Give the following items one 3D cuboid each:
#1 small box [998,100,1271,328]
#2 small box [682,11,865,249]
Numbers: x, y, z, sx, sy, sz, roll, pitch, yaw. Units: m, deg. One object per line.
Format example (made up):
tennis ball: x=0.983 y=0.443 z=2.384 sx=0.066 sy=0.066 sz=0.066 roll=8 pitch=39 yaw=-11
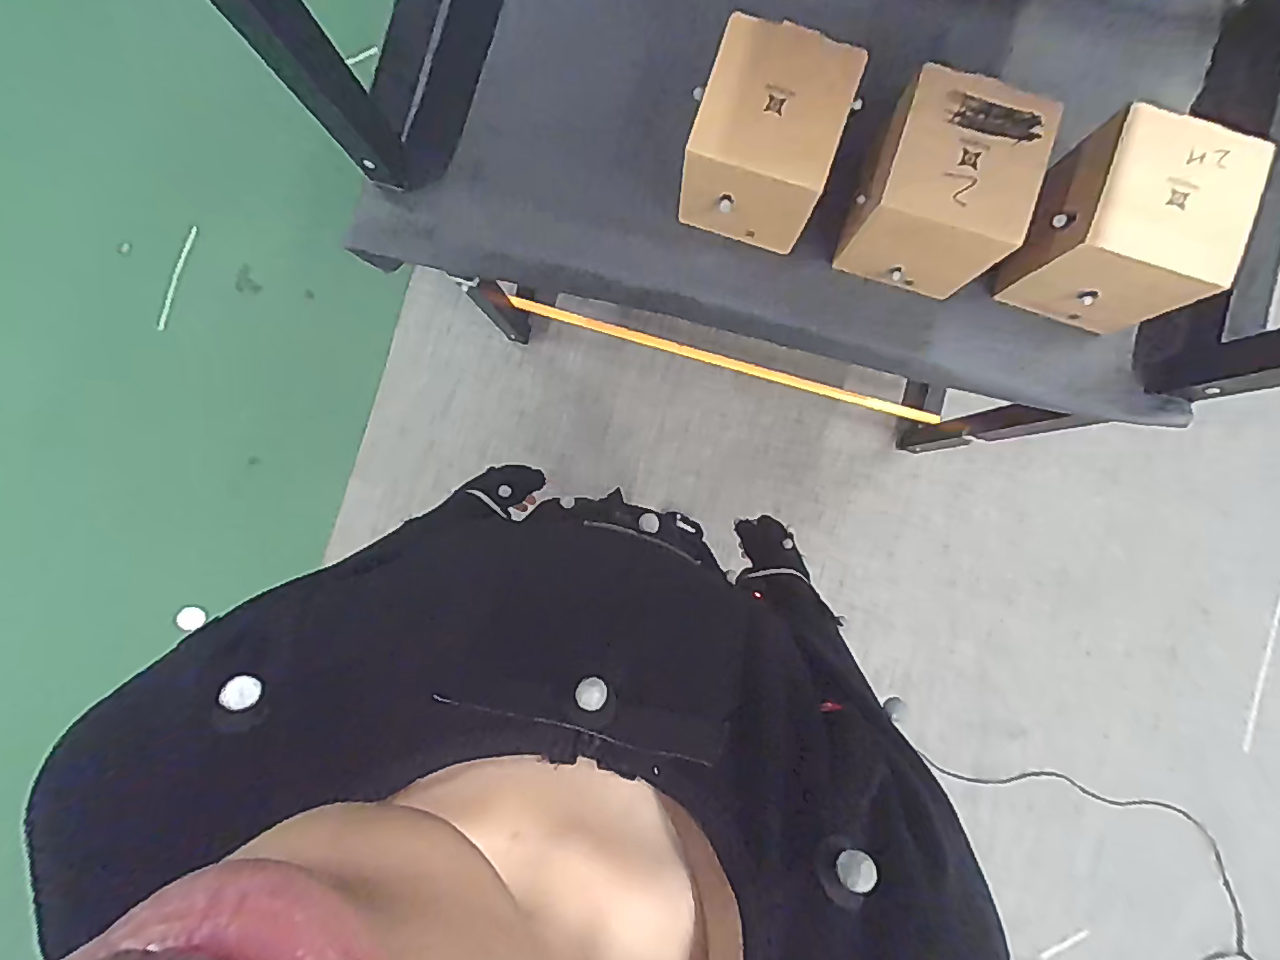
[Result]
small box: x=0.594 y=-0.314 z=0.678 sx=0.168 sy=0.176 sz=0.179 roll=20 pitch=88 yaw=2
small box: x=0.157 y=-0.431 z=0.696 sx=0.168 sy=0.176 sz=0.179 roll=18 pitch=88 yaw=2
